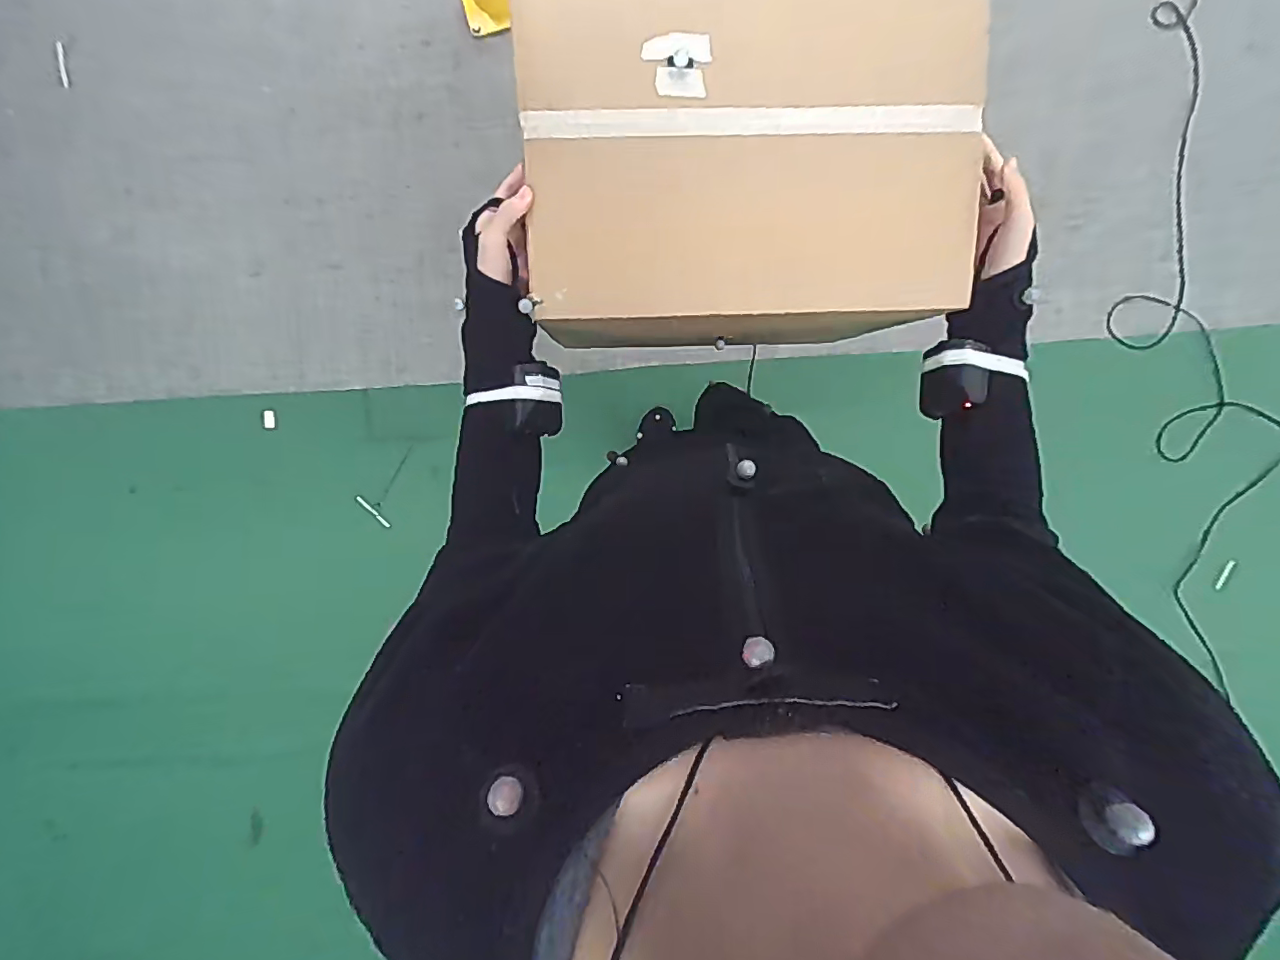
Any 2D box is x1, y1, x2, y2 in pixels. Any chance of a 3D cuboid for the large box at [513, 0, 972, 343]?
[{"bbox_3d":[0.091,-0.334,0.628,0.408,0.320,0.320,-2,98,-2],"label":"large box"}]
